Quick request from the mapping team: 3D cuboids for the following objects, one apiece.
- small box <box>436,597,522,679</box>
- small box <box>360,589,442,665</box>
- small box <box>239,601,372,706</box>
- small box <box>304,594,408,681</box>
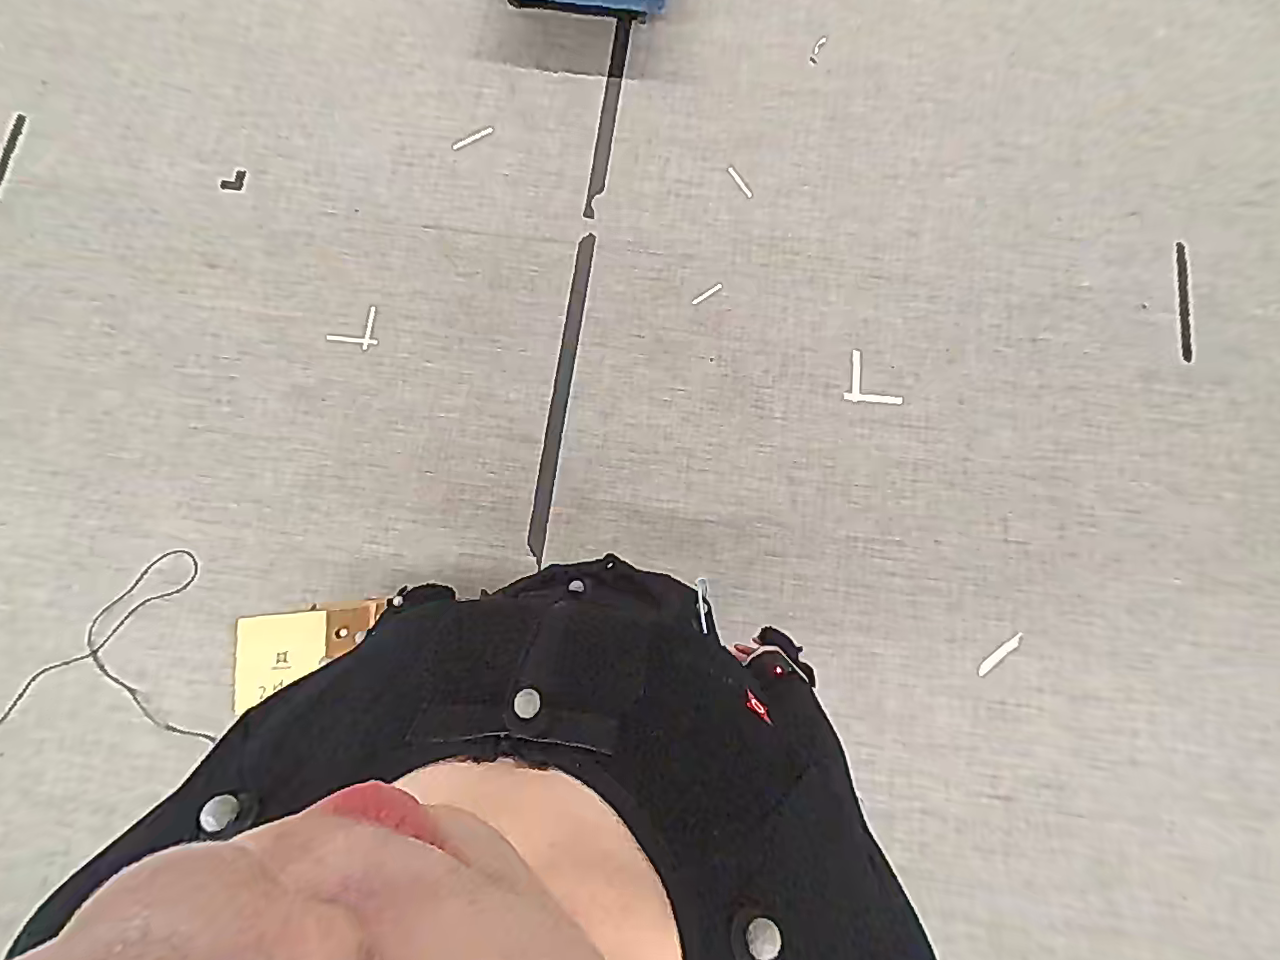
[{"bbox_3d":[-0.409,0.403,1.406,0.168,0.176,0.179,5,82,1],"label":"small box"},{"bbox_3d":[-0.625,0.378,1.407,0.168,0.176,0.179,-2,81,-1],"label":"small box"},{"bbox_3d":[-0.656,0.337,1.080,0.168,0.176,0.179,-4,81,-1],"label":"small box"},{"bbox_3d":[-0.650,0.357,1.244,0.168,0.176,0.179,-1,80,-1],"label":"small box"}]
